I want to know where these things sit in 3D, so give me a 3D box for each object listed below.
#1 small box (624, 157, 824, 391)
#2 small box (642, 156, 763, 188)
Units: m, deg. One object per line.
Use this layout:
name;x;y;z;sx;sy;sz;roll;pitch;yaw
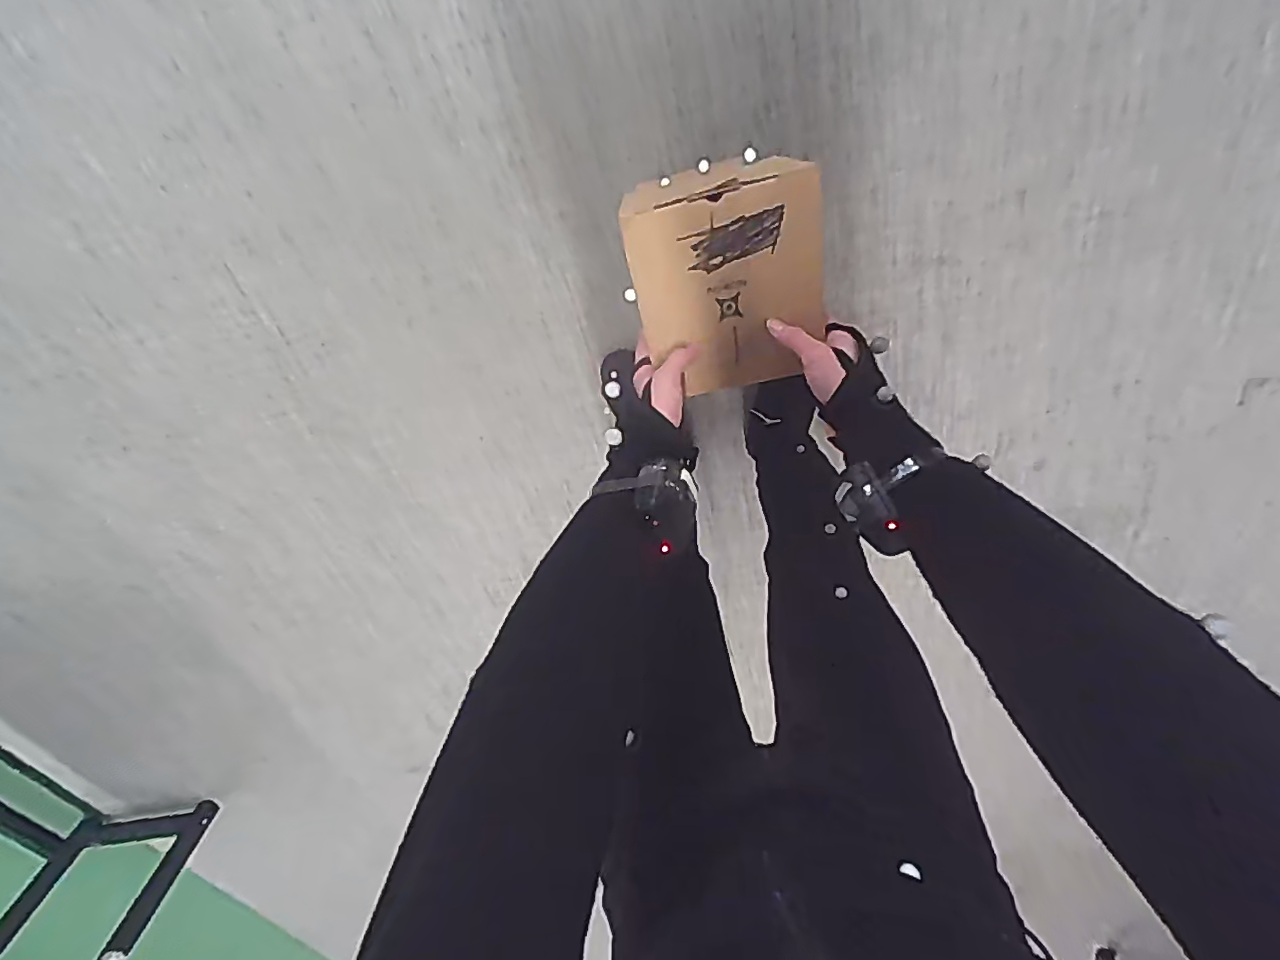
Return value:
small box;0.082;-0.215;0.555;0.168;0.176;0.179;-10;122;8
small box;0.099;-0.388;0.833;0.179;0.176;0.168;-11;121;8
